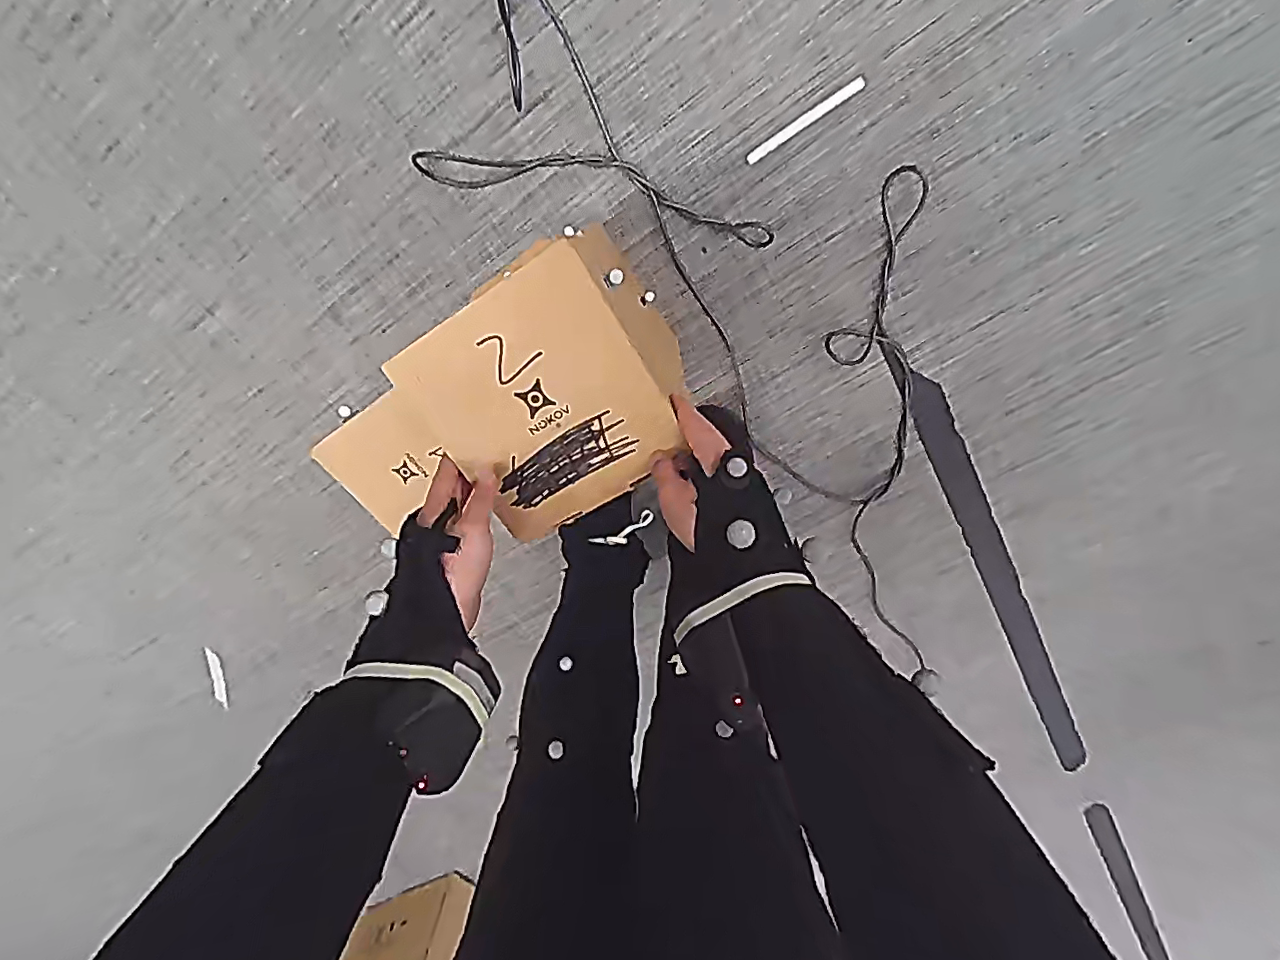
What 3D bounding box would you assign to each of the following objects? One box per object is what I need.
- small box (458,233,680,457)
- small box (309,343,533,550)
[{"bbox_3d":[-0.071,-0.163,0.627,0.168,0.176,0.179,-31,114,16],"label":"small box"},{"bbox_3d":[-0.261,-0.048,0.692,0.179,0.176,0.168,-29,114,17],"label":"small box"}]
